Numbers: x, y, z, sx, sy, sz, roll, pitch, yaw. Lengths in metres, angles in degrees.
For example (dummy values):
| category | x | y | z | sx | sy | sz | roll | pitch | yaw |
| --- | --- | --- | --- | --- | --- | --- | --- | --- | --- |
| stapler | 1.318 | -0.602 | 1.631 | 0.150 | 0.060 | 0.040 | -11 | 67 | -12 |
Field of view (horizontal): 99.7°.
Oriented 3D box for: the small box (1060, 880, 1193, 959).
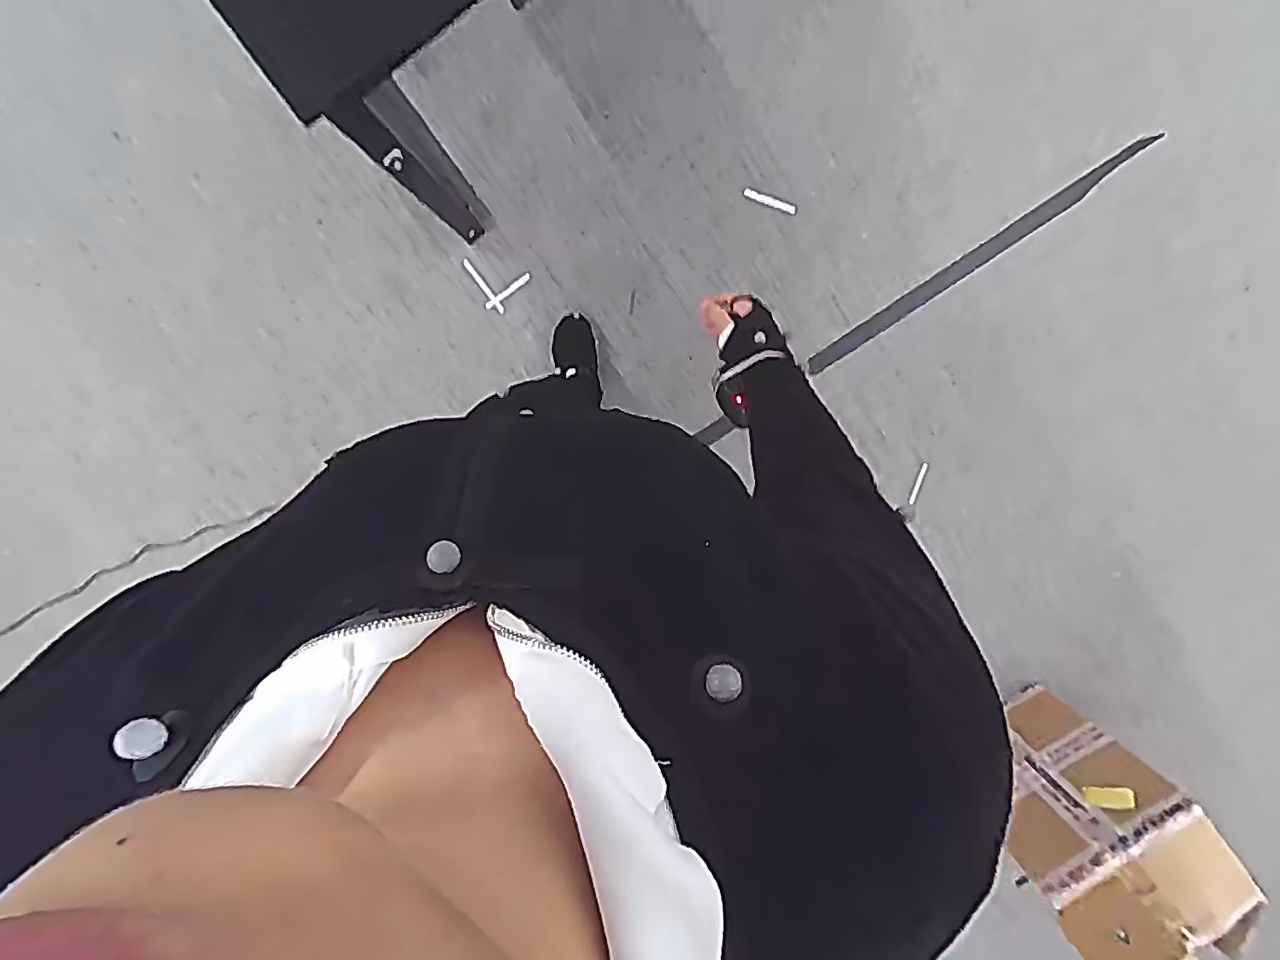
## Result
| category | x | y | z | sx | sy | sz | roll | pitch | yaw |
| --- | --- | --- | --- | --- | --- | --- | --- | --- | --- |
| small box | 1.046 | 1.015 | 1.146 | 0.179 | 0.176 | 0.168 | -41 | 97 | 6 |
